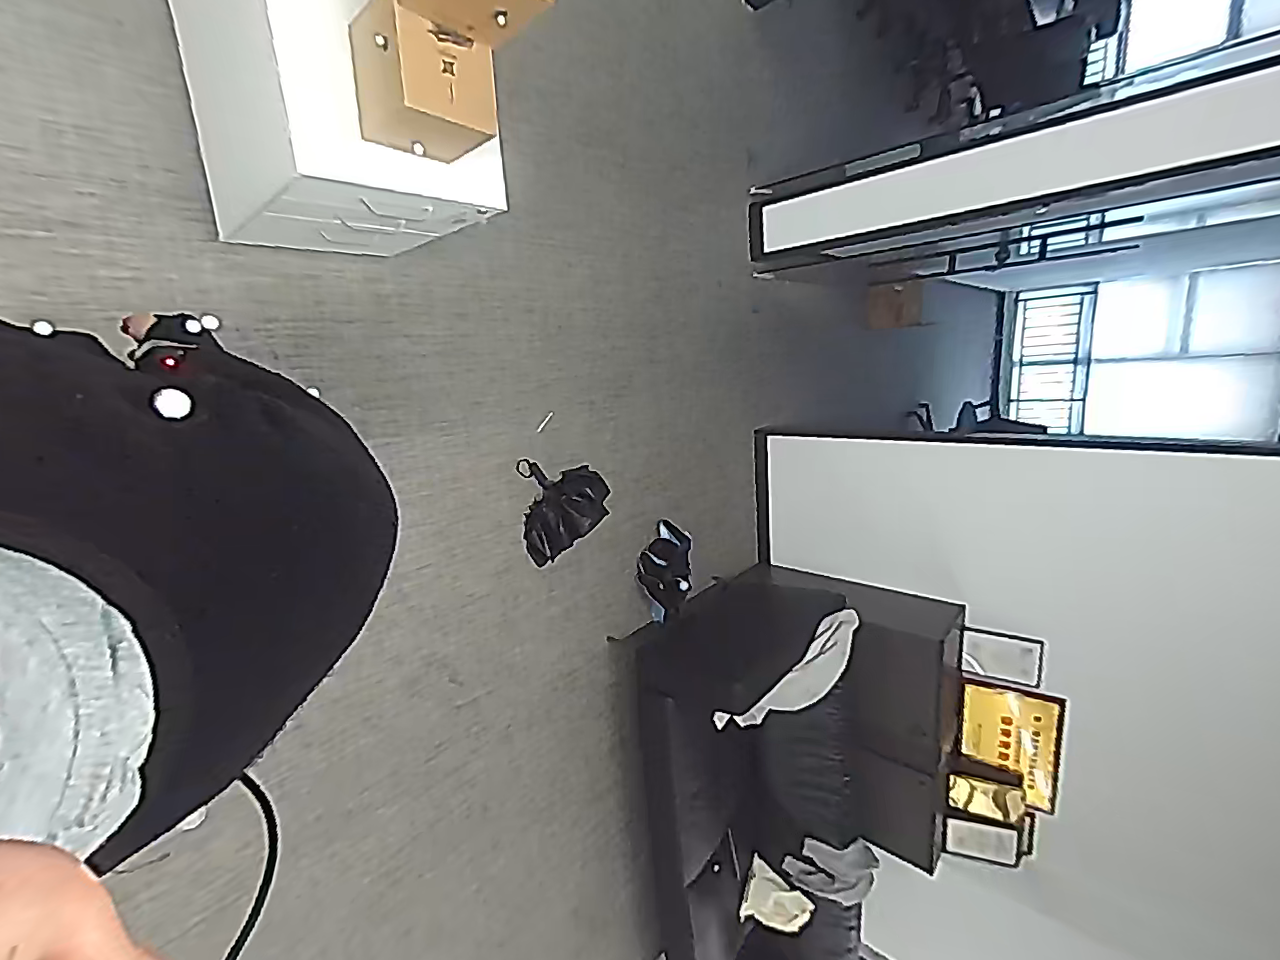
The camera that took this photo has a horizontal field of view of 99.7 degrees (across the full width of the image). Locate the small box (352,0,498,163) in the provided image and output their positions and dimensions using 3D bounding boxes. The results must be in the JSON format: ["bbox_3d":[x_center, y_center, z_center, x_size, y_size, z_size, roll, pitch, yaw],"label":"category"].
[{"bbox_3d":[-0.358,-0.662,0.900,0.168,0.176,0.179,-14,106,-46],"label":"small box"}]

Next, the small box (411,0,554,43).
[{"bbox_3d":[-0.241,-0.778,0.770,0.168,0.176,0.179,-15,106,-47],"label":"small box"}]
